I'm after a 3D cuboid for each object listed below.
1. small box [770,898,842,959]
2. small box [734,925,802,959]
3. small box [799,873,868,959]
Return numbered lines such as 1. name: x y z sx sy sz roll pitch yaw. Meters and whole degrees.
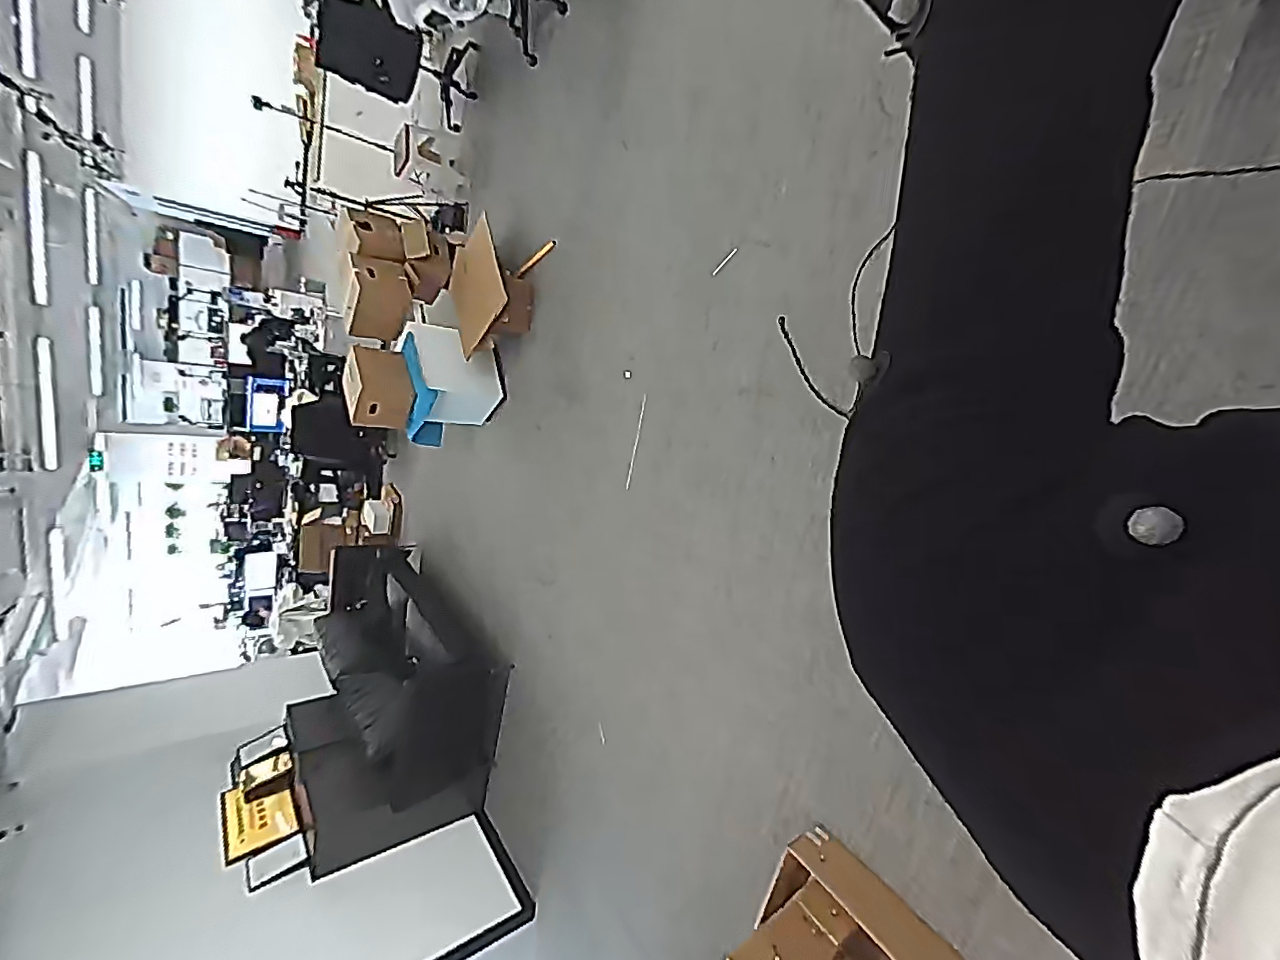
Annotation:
1. small box: 0.475 1.416 1.615 0.168 0.176 0.179 30 112 44
2. small box: 0.354 1.413 1.505 0.168 0.176 0.179 29 111 44
3. small box: 0.599 1.411 1.721 0.168 0.176 0.179 28 111 46
